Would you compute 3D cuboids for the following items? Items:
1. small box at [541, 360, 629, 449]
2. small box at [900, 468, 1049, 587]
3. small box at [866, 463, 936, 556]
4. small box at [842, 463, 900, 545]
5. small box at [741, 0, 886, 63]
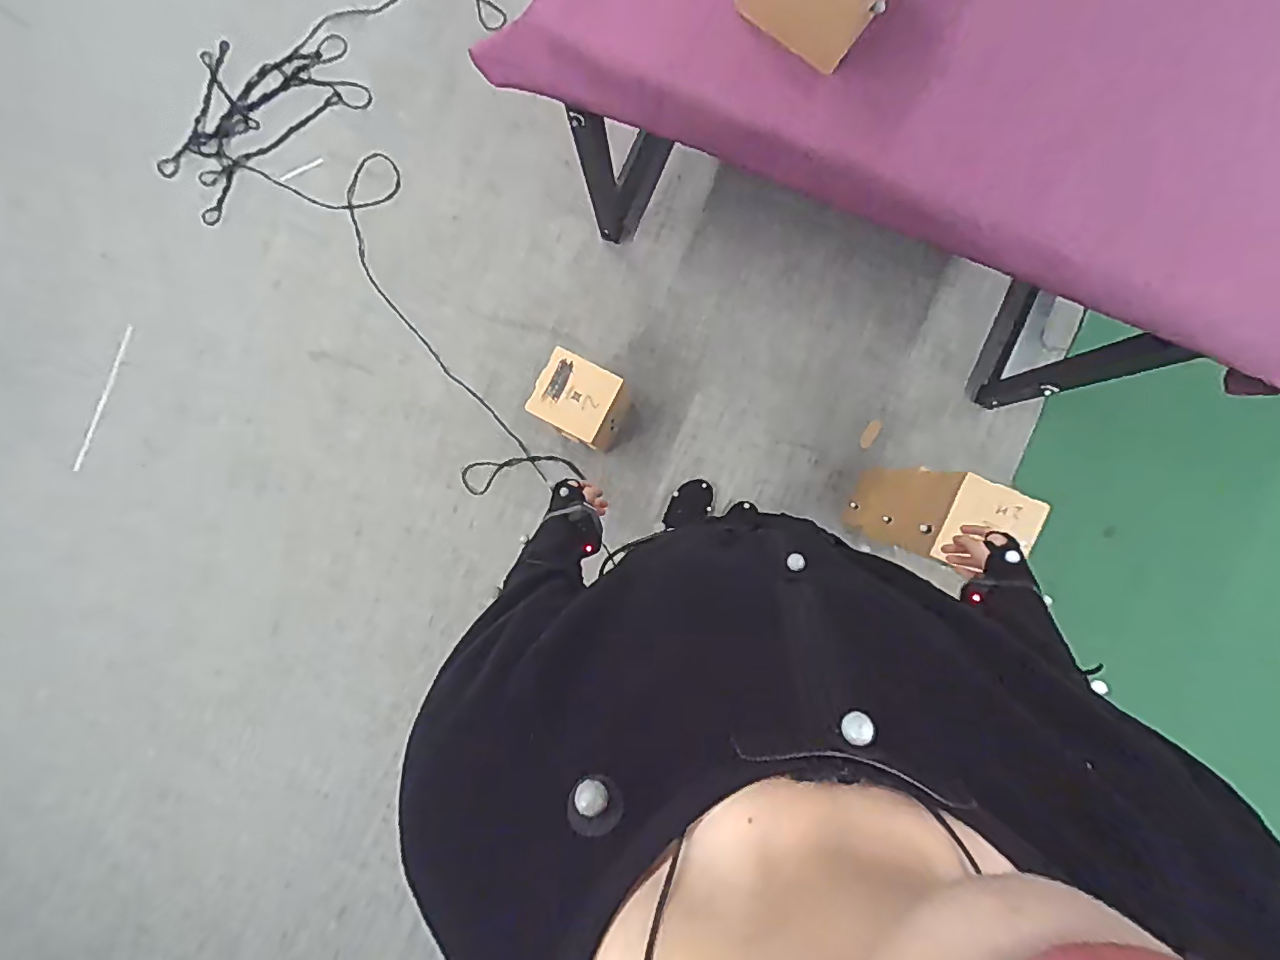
[{"bbox_3d":[-0.138,-0.193,1.451,0.168,0.176,0.179,28,92,3],"label":"small box"},{"bbox_3d":[0.651,0.087,1.081,0.168,0.176,0.179,23,92,2],"label":"small box"},{"bbox_3d":[0.651,0.072,1.246,0.168,0.176,0.179,23,93,3],"label":"small box"},{"bbox_3d":[0.655,0.069,1.408,0.179,0.176,0.168,25,91,3],"label":"small box"},{"bbox_3d":[0.252,-0.710,0.708,0.179,0.176,0.168,37,92,2],"label":"small box"}]
